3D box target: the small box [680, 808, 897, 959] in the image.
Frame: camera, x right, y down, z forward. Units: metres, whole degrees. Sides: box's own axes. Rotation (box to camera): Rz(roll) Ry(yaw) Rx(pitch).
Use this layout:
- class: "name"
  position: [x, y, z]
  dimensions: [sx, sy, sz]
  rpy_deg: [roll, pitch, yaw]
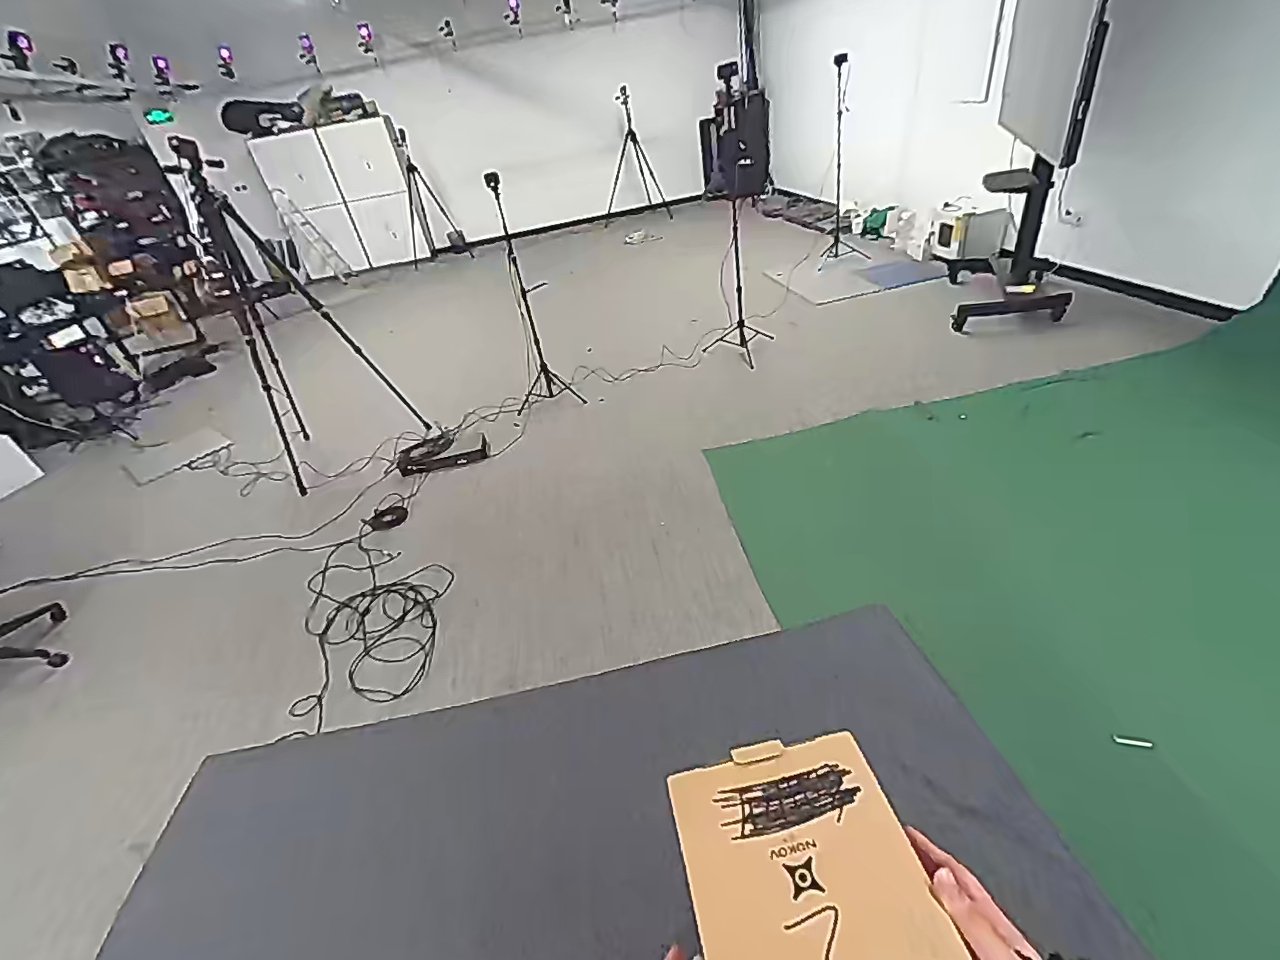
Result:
- class: "small box"
  position: [0.146, 0.468, 0.530]
  dimensions: [0.168, 0.176, 0.179]
  rpy_deg: [-13, 34, -3]
